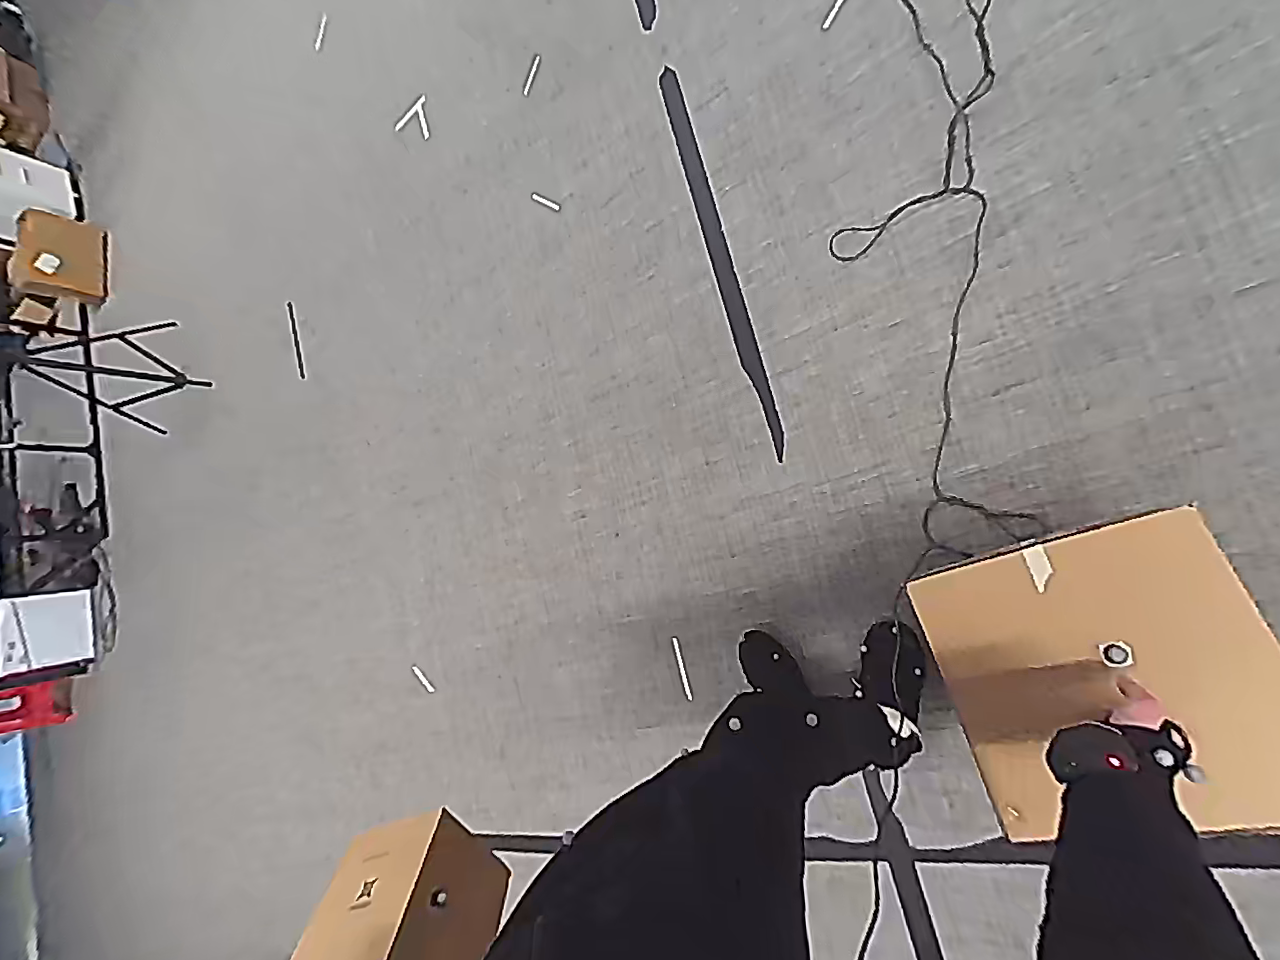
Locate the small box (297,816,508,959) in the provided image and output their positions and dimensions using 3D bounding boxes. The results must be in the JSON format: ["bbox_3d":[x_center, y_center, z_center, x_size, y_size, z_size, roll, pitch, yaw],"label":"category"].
[{"bbox_3d":[-0.294,0.581,0.695,0.168,0.179,0.176,-24,113,14],"label":"small box"}]
